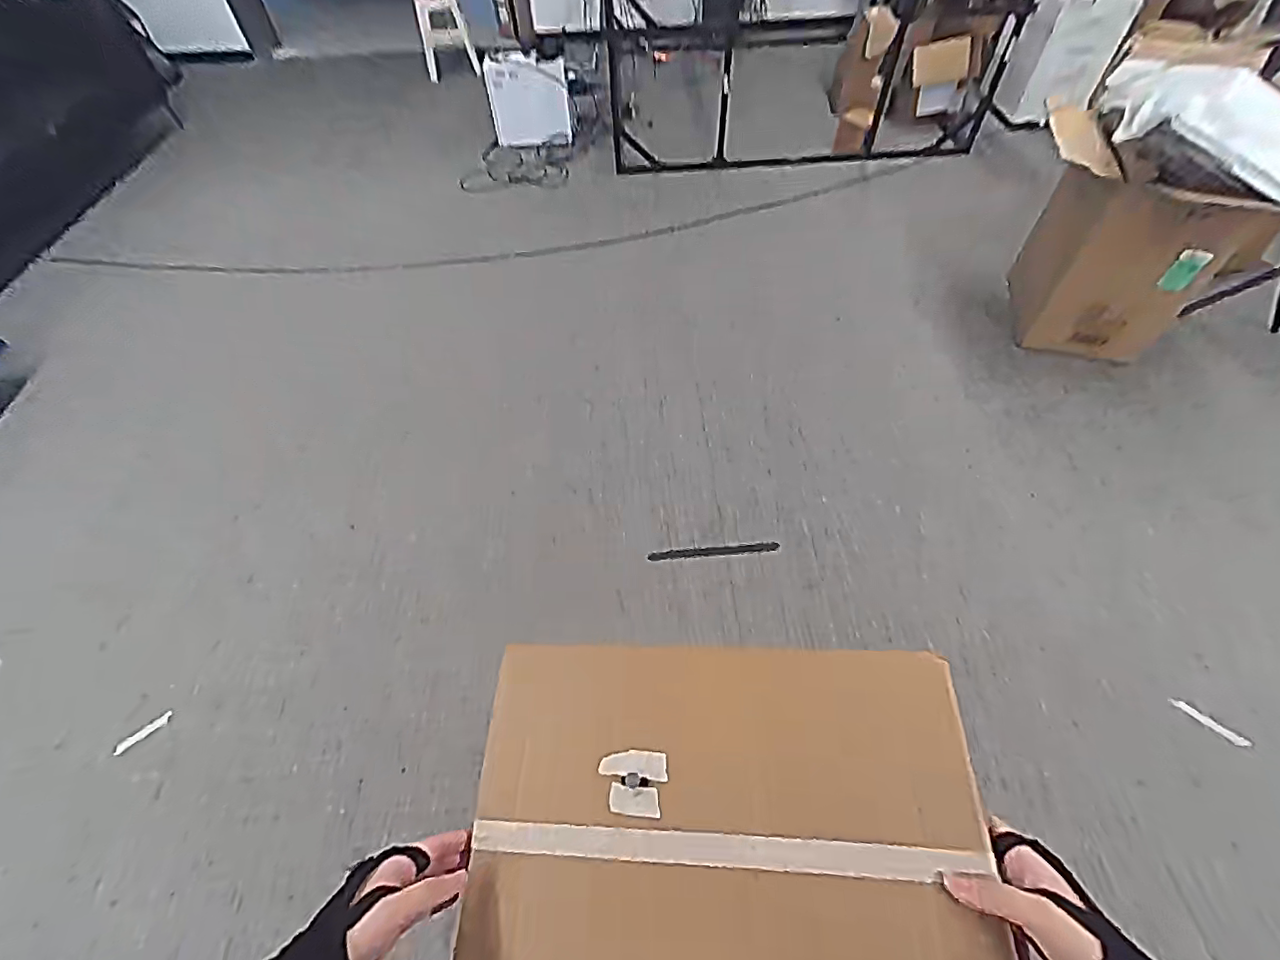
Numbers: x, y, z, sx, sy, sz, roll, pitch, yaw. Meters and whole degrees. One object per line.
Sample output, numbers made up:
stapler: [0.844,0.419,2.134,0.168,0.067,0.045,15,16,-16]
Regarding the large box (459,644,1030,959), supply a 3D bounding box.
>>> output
large box: [0.091,0.357,0.536,0.408,0.320,0.320,-3,58,11]
